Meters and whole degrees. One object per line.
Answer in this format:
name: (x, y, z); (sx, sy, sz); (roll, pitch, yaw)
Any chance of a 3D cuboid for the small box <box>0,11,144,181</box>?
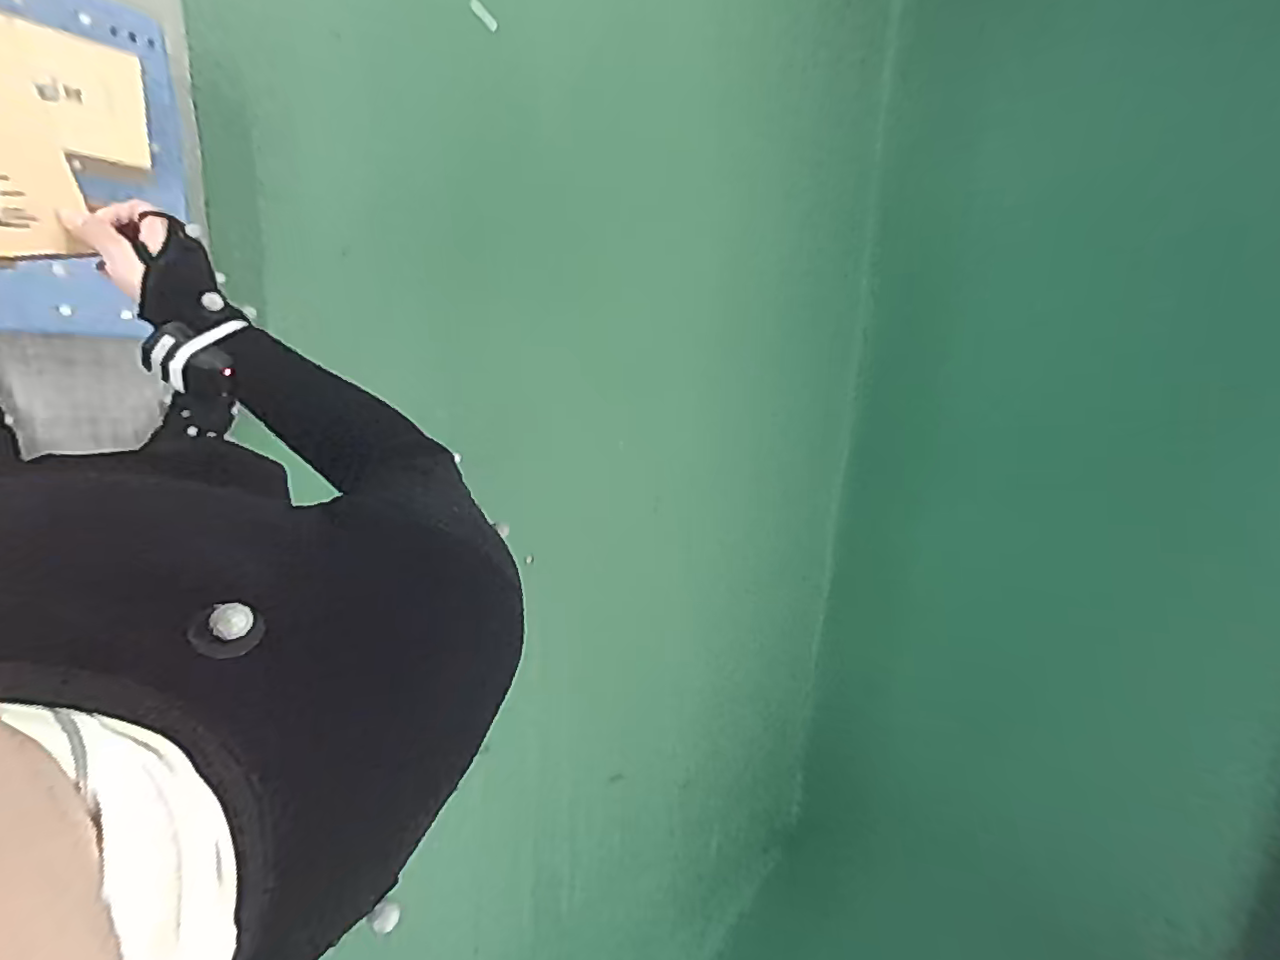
small box: (-0.931, -0.608, 0.878); (0.179, 0.176, 0.168); (-6, 105, -42)
